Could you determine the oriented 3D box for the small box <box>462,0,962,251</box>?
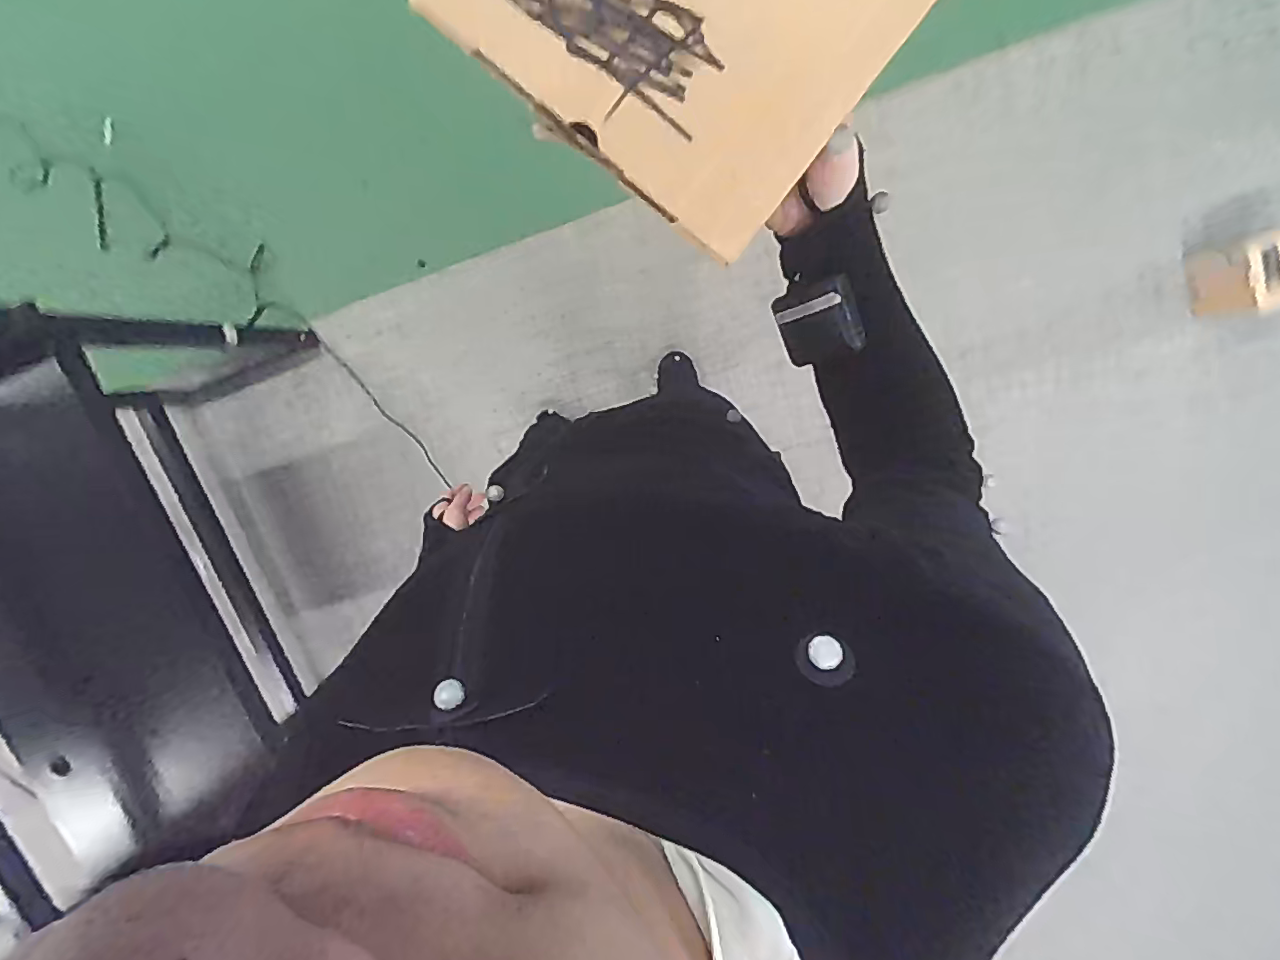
[{"bbox_3d":[0.047,-0.241,0.269,0.168,0.176,0.179,36,112,-12],"label":"small box"}]
